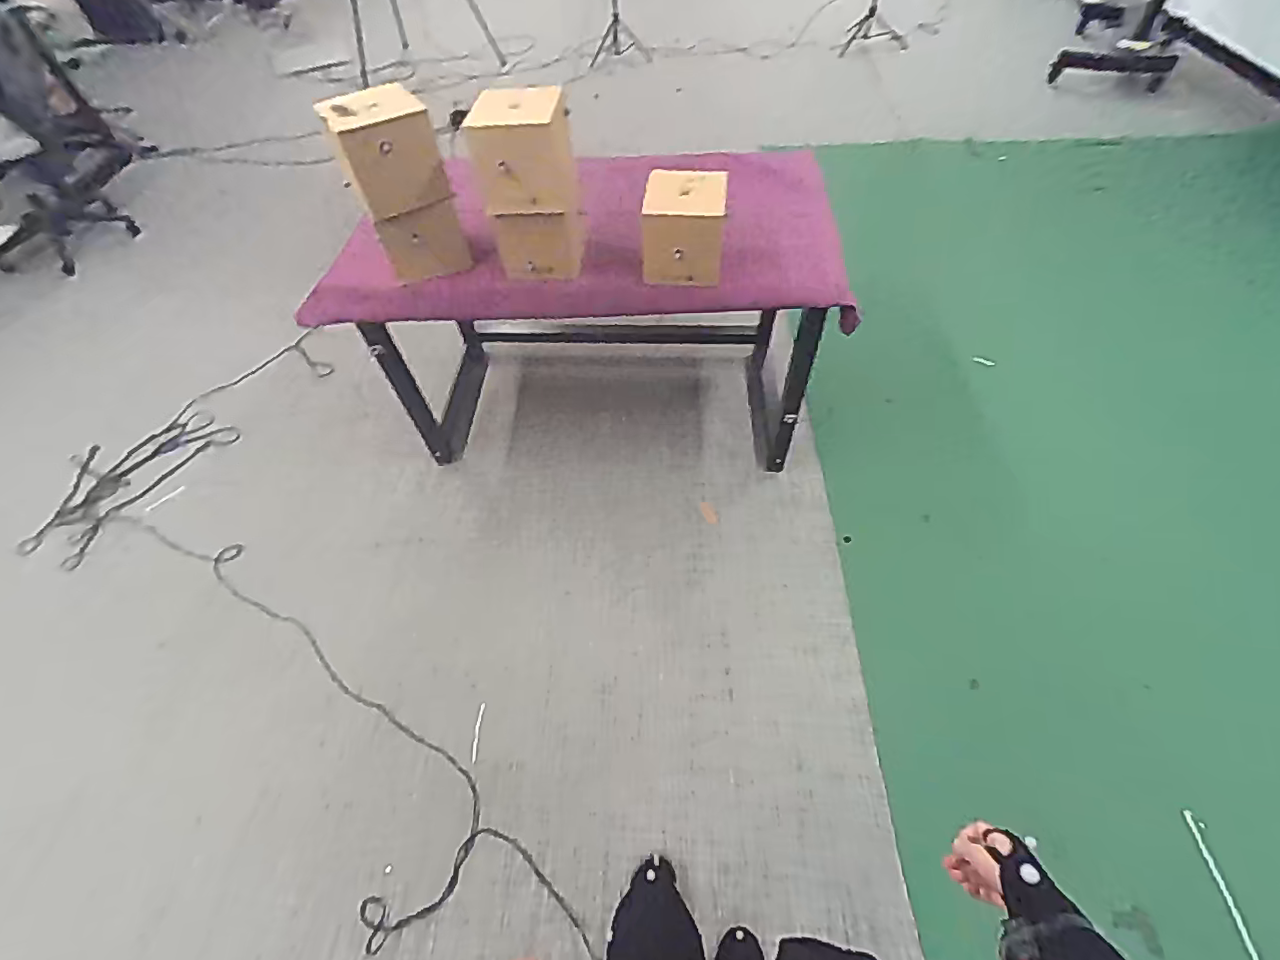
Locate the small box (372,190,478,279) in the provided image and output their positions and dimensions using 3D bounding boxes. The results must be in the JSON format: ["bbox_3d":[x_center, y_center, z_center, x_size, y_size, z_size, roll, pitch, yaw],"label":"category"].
[{"bbox_3d":[-0.495,-0.591,1.244,0.179,0.176,0.168,-19,56,-10],"label":"small box"}]

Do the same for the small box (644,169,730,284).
[{"bbox_3d":[0.106,-0.555,1.190,0.168,0.176,0.179,6,56,6],"label":"small box"}]

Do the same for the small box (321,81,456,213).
[{"bbox_3d":[-0.504,-0.673,1.100,0.179,0.176,0.168,-29,58,-18],"label":"small box"}]

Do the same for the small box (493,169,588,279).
[{"bbox_3d":[-0.215,-0.581,1.226,0.168,0.176,0.179,2,55,5],"label":"small box"}]

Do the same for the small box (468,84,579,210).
[{"bbox_3d":[-0.222,-0.661,1.084,0.168,0.176,0.179,1,53,5],"label":"small box"}]
